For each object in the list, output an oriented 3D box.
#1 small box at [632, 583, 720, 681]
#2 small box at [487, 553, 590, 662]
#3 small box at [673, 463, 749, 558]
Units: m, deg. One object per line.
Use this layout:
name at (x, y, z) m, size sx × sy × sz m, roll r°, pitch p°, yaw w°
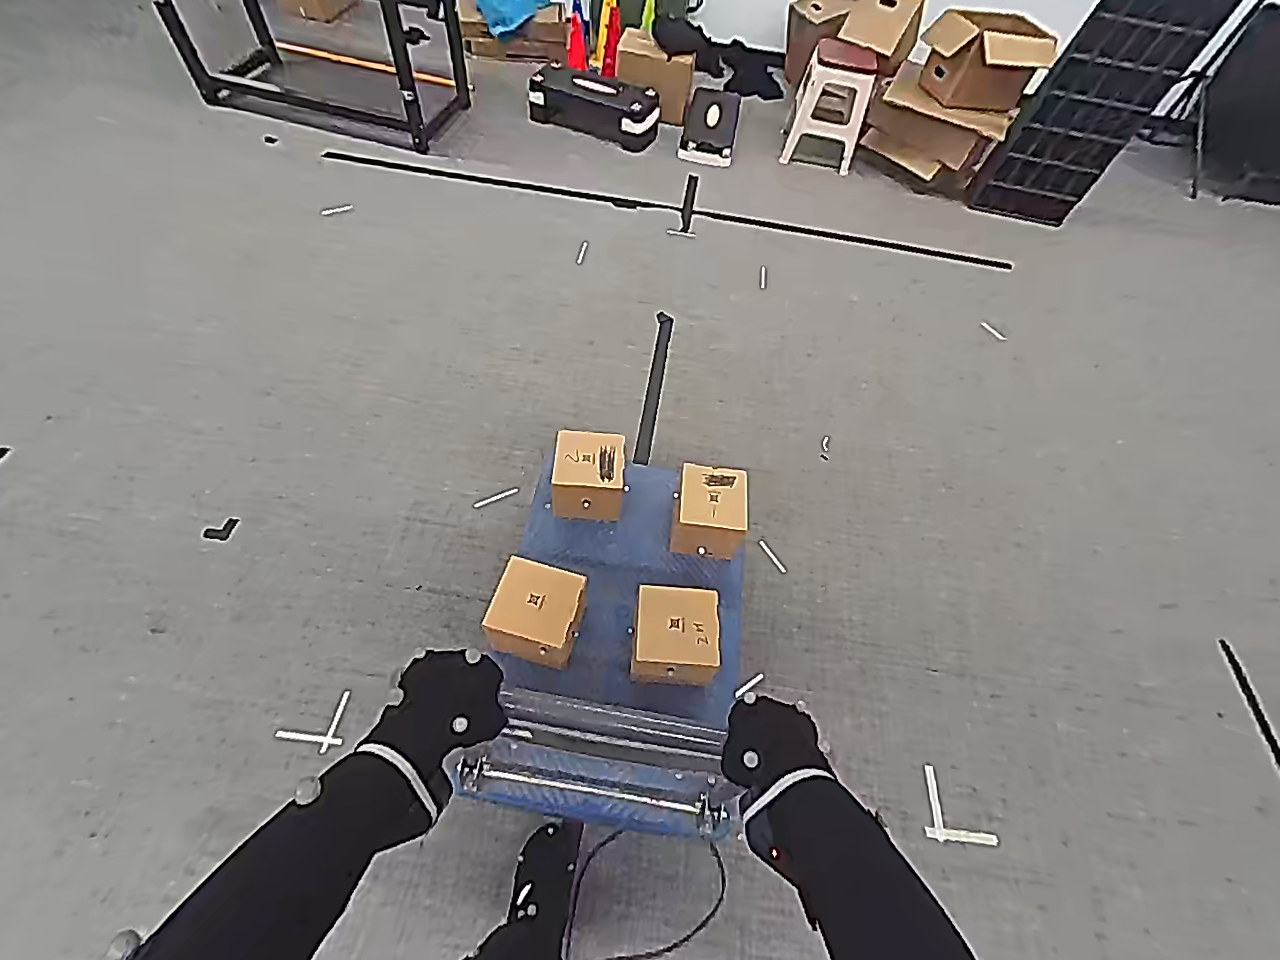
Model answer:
small box at (0.078, 0.347, 1.218) m, size 0.179 × 0.176 × 0.168 m, roll 6°, pitch 57°, yaw -3°
small box at (-0.222, 0.293, 1.219) m, size 0.179 × 0.176 × 0.168 m, roll 16°, pitch 56°, yaw 2°
small box at (0.181, 0.081, 1.403) m, size 0.168 × 0.176 × 0.179 m, roll 8°, pitch 57°, yaw -1°
